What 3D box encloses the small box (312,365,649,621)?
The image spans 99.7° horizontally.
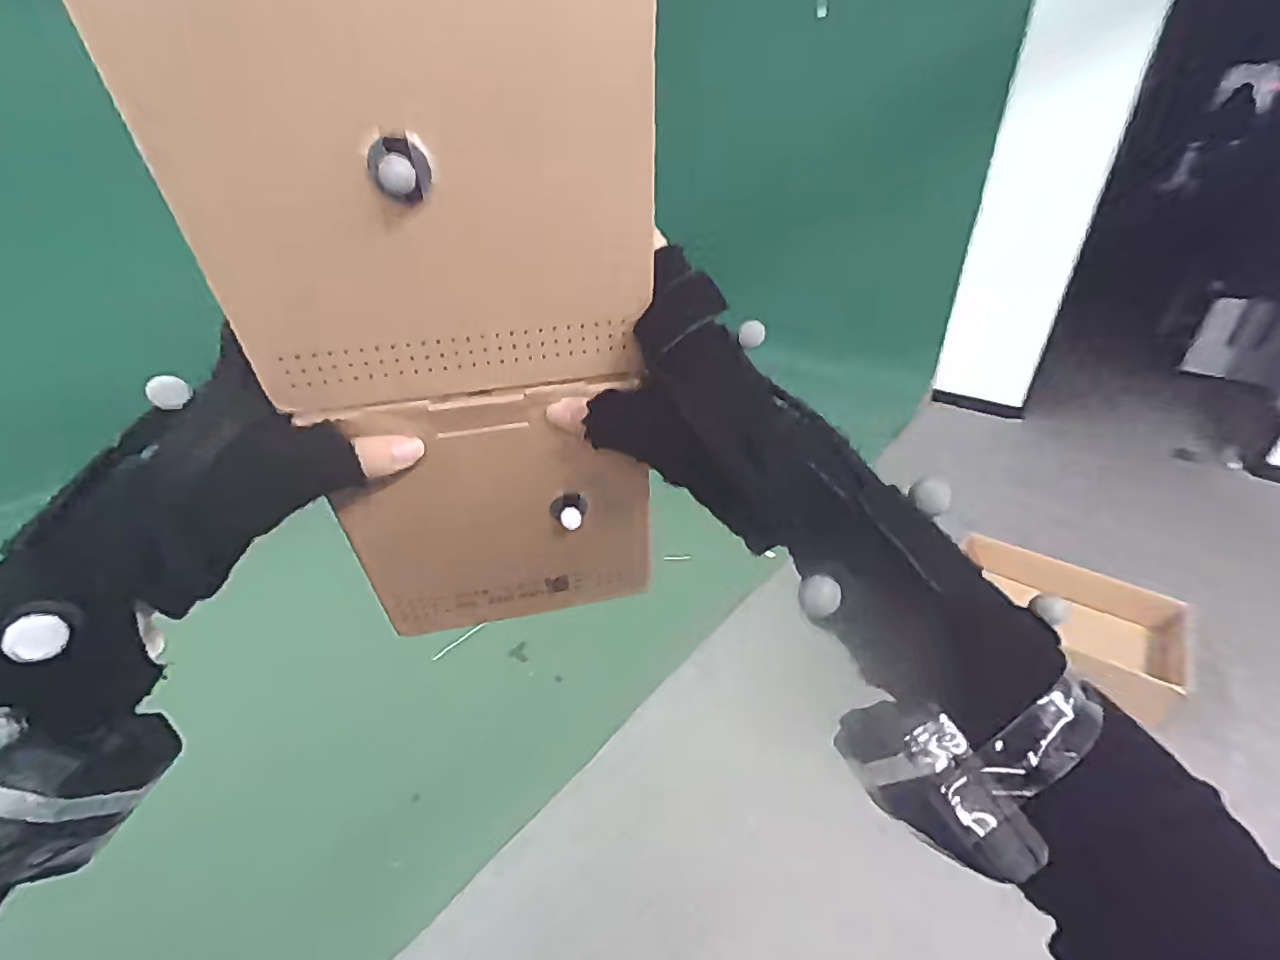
[{"bbox_3d":[-0.089,-0.020,0.377,0.168,0.176,0.179,-8,39,-8],"label":"small box"}]

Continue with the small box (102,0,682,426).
[{"bbox_3d":[-0.090,-0.146,0.271,0.179,0.176,0.168,-10,41,-12],"label":"small box"}]
